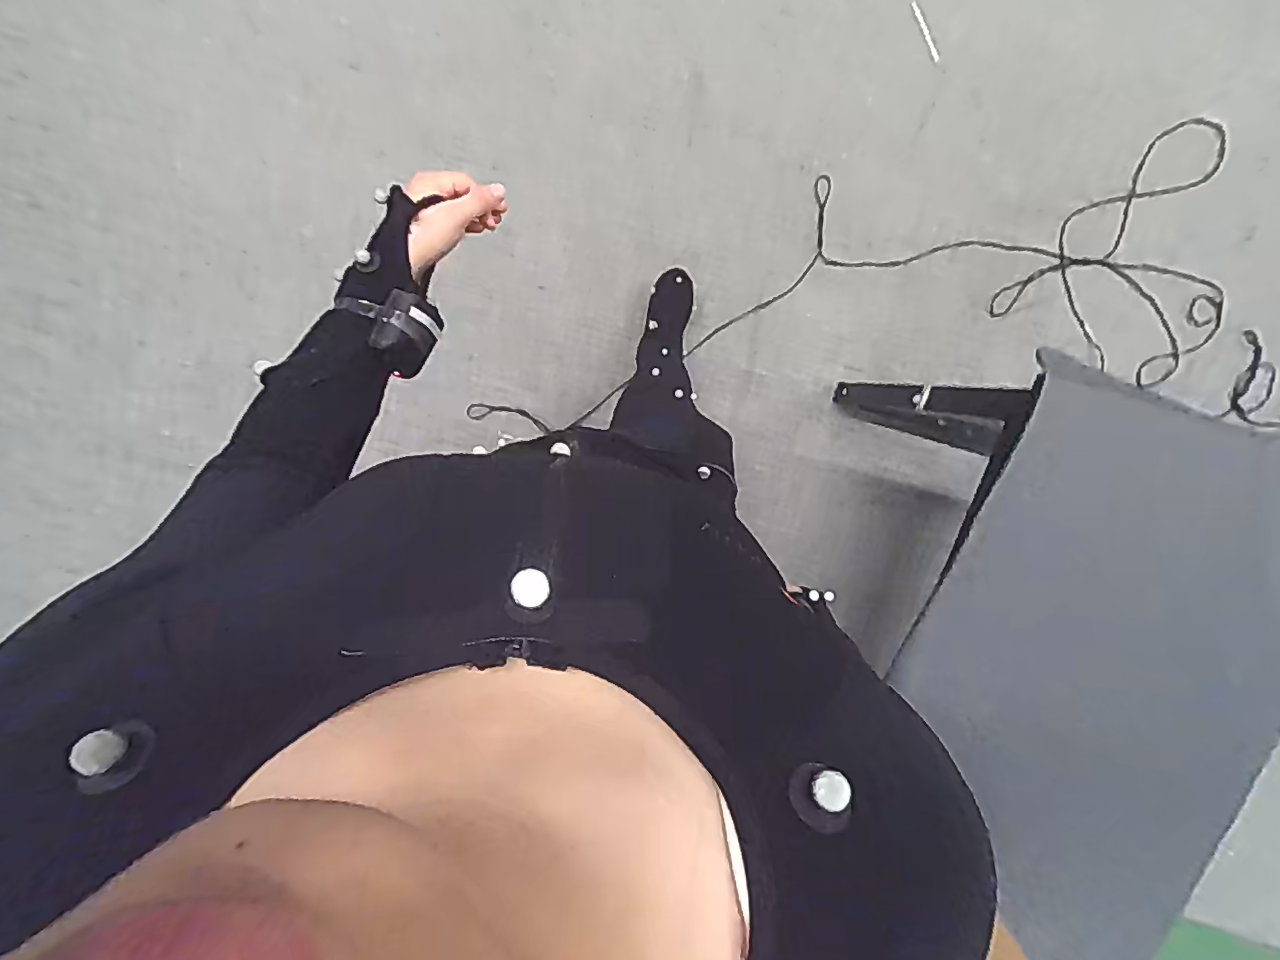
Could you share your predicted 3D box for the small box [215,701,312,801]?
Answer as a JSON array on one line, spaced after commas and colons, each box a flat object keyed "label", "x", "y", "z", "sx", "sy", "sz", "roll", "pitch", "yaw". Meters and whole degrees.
[{"label": "small box", "x": -1.017, "y": 0.732, "z": 1.445, "sx": 0.168, "sy": 0.176, "sz": 0.179, "roll": 24, "pitch": 97, "yaw": -8}]
